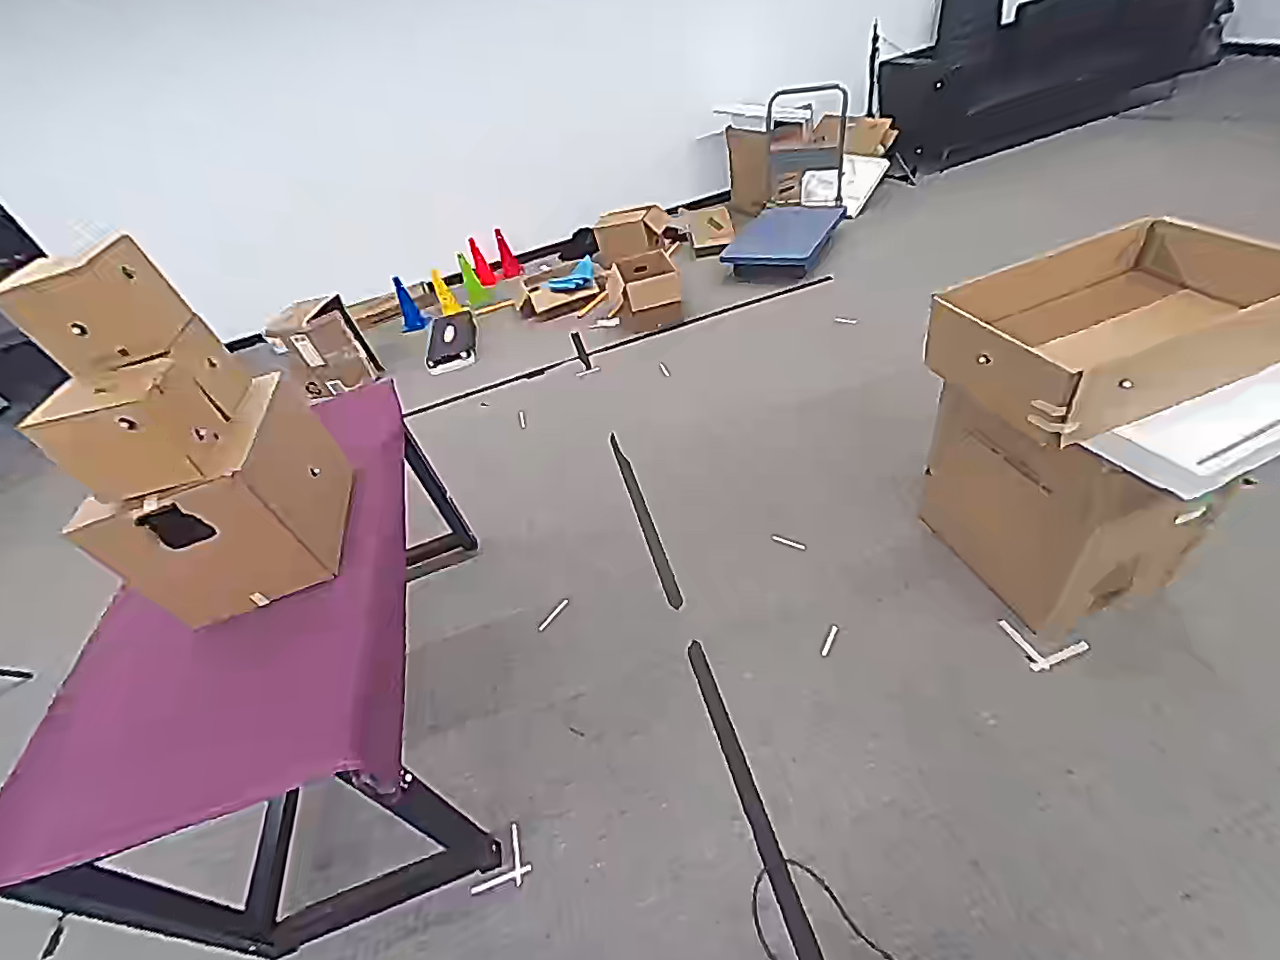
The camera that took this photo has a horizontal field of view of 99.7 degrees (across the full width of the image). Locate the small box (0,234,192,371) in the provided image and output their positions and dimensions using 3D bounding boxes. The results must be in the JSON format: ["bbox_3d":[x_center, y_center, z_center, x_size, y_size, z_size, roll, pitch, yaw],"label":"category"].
[{"bbox_3d":[-0.982,-0.319,0.993,0.168,0.176,0.179,-19,43,-4],"label":"small box"}]
